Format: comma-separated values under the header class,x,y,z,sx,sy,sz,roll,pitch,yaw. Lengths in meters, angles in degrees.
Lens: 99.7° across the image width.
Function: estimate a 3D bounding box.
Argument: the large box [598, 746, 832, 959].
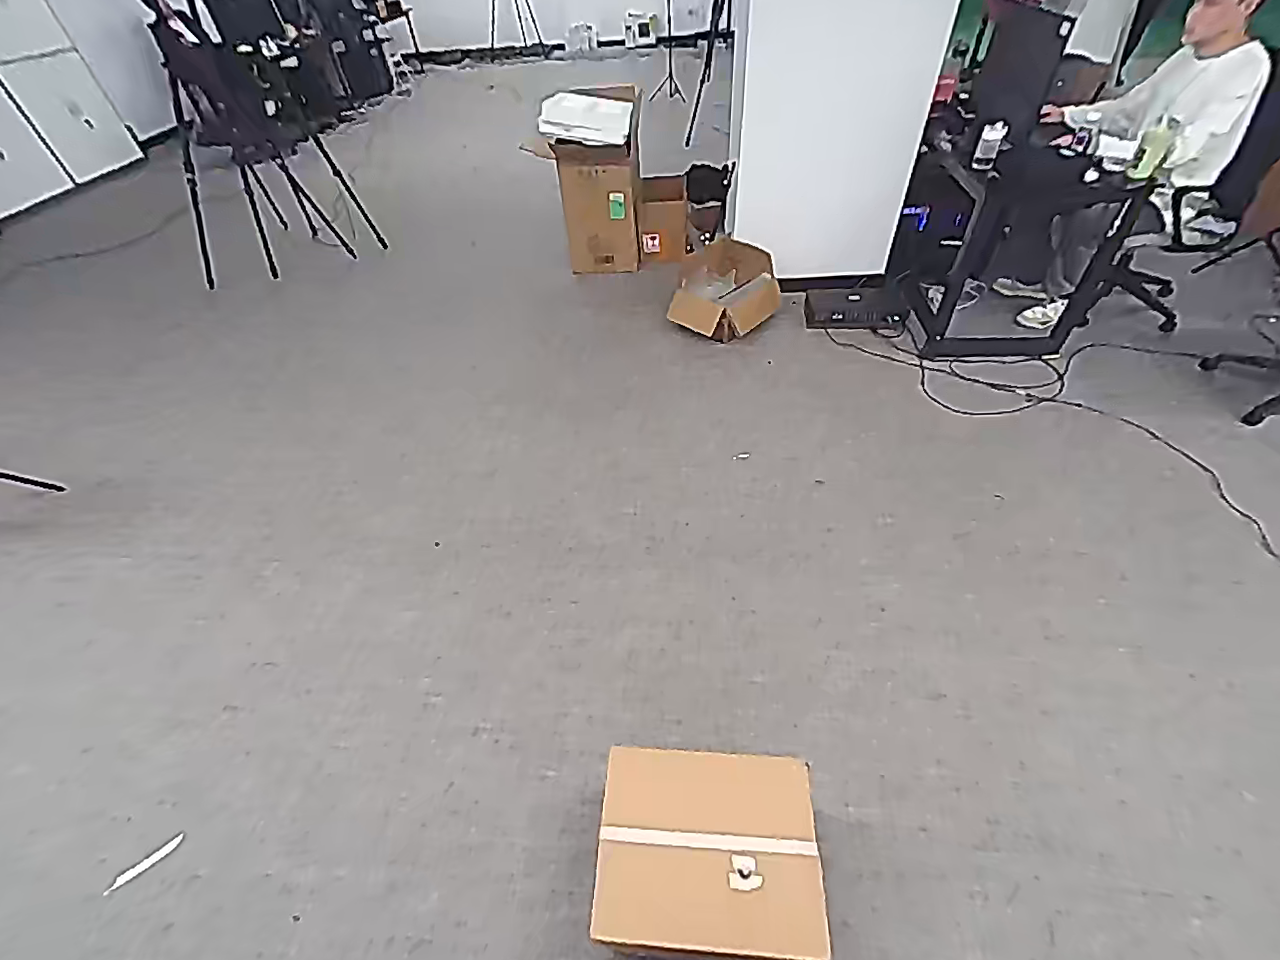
class,x,y,z,sx,sy,sz,roll,pitch,yaw
large box,0.137,0.773,1.119,0.408,0.320,0.320,1,47,5
